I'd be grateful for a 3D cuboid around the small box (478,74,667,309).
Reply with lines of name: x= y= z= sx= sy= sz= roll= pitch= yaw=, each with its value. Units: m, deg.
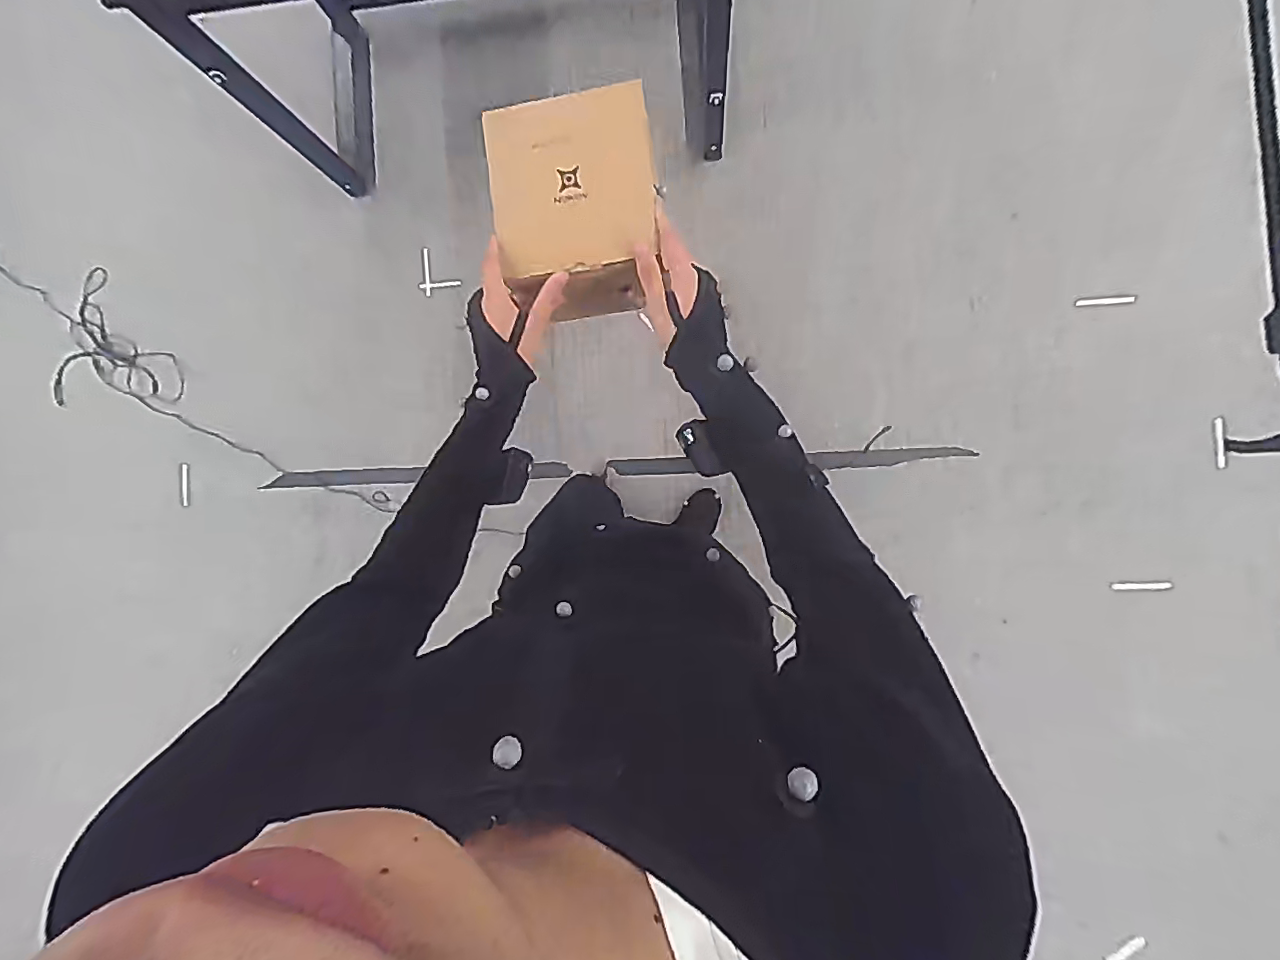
small box: x=-0.063 y=-0.305 z=0.617 sx=0.168 sy=0.176 sz=0.179 roll=-7 pitch=93 yaw=7
